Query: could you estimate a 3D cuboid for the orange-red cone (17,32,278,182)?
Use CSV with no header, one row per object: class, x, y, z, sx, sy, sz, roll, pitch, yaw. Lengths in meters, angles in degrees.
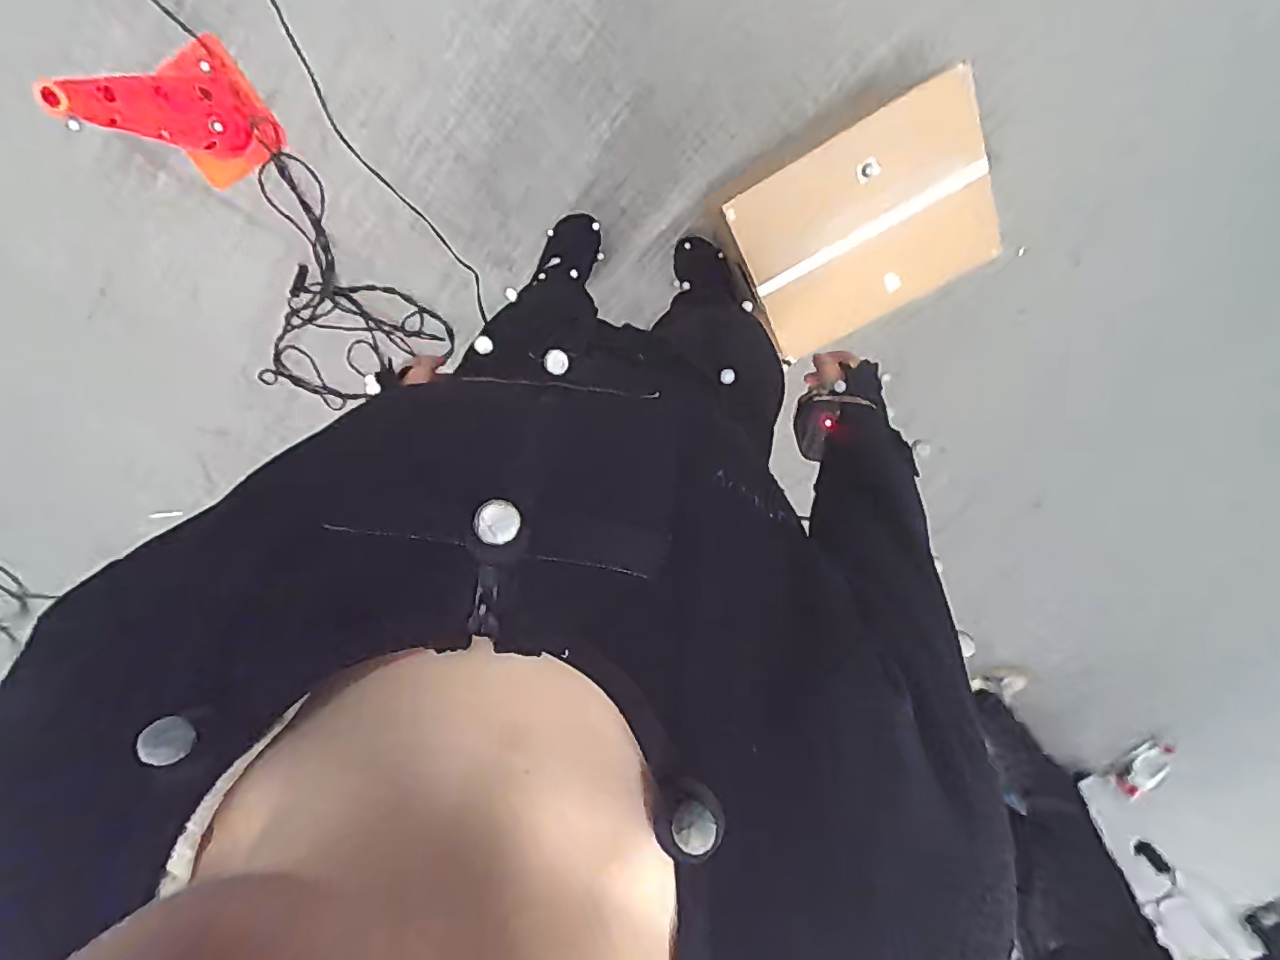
orange-red cone,-0.831,-0.626,0.893,0.199,0.360,0.198,-22,117,13
